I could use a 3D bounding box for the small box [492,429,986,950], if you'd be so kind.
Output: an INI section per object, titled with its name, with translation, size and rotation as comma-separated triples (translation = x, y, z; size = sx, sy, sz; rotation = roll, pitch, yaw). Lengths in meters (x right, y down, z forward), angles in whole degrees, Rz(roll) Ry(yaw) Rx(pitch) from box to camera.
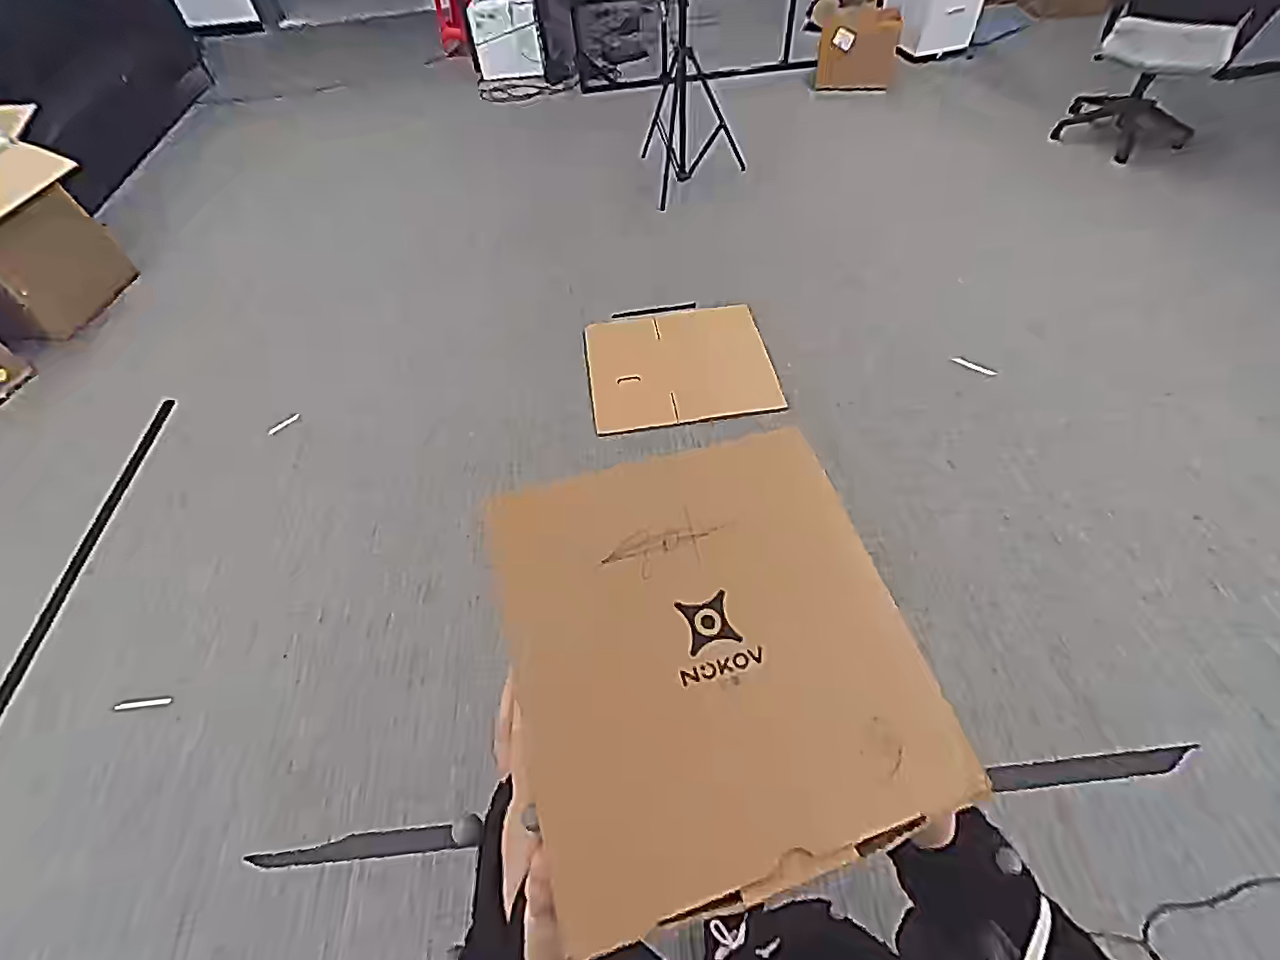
[small box]
translation = 0.028, 0.103, 0.297
size = 0.168, 0.176, 0.179
rotation = -13, 61, -12
